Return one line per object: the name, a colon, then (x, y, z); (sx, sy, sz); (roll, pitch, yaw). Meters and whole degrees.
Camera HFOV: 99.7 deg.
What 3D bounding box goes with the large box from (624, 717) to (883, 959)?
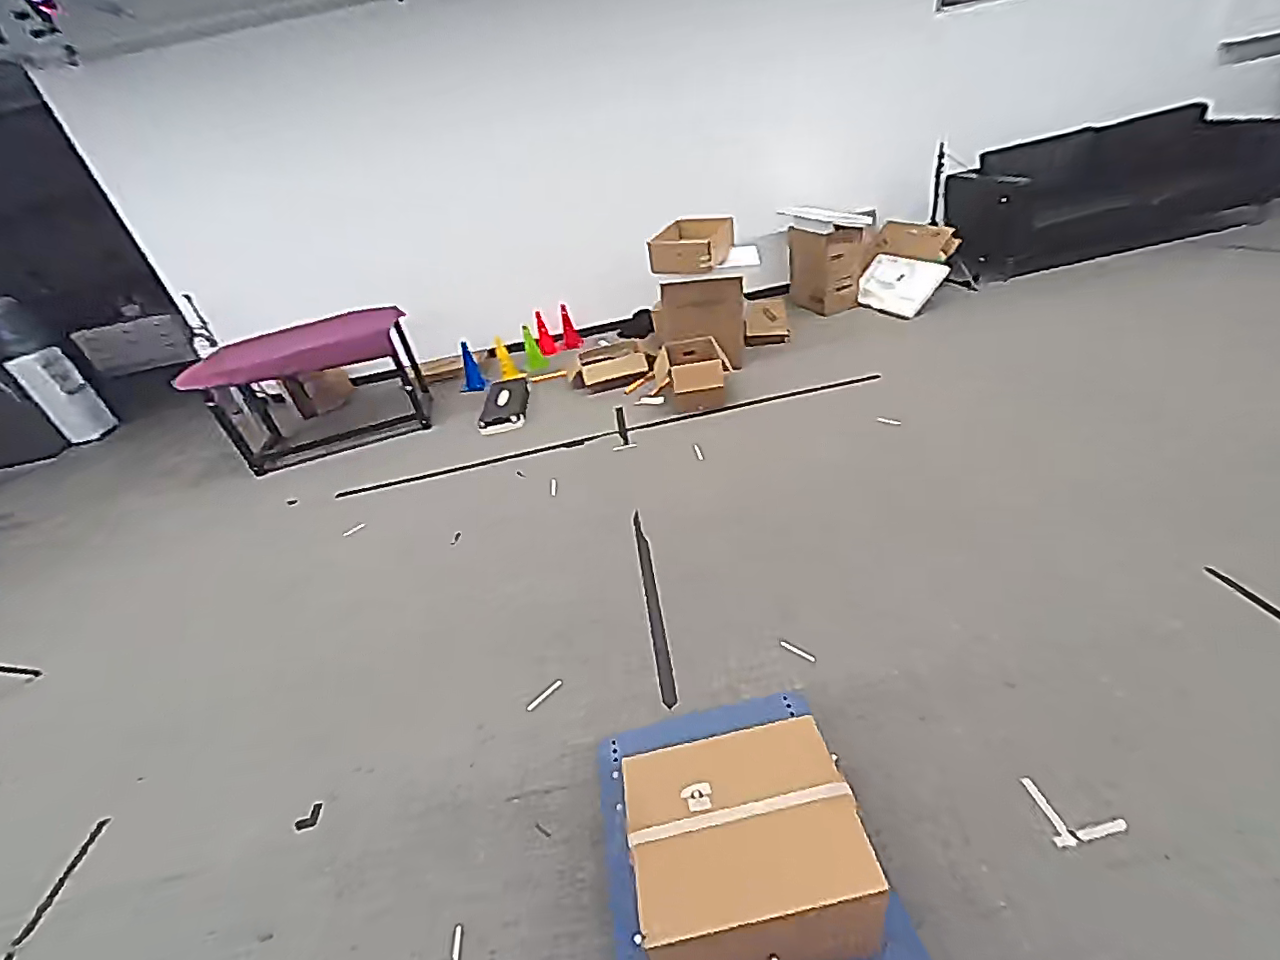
large box: (0.210, 0.738, 1.071); (0.408, 0.320, 0.320); (-14, 32, 0)
